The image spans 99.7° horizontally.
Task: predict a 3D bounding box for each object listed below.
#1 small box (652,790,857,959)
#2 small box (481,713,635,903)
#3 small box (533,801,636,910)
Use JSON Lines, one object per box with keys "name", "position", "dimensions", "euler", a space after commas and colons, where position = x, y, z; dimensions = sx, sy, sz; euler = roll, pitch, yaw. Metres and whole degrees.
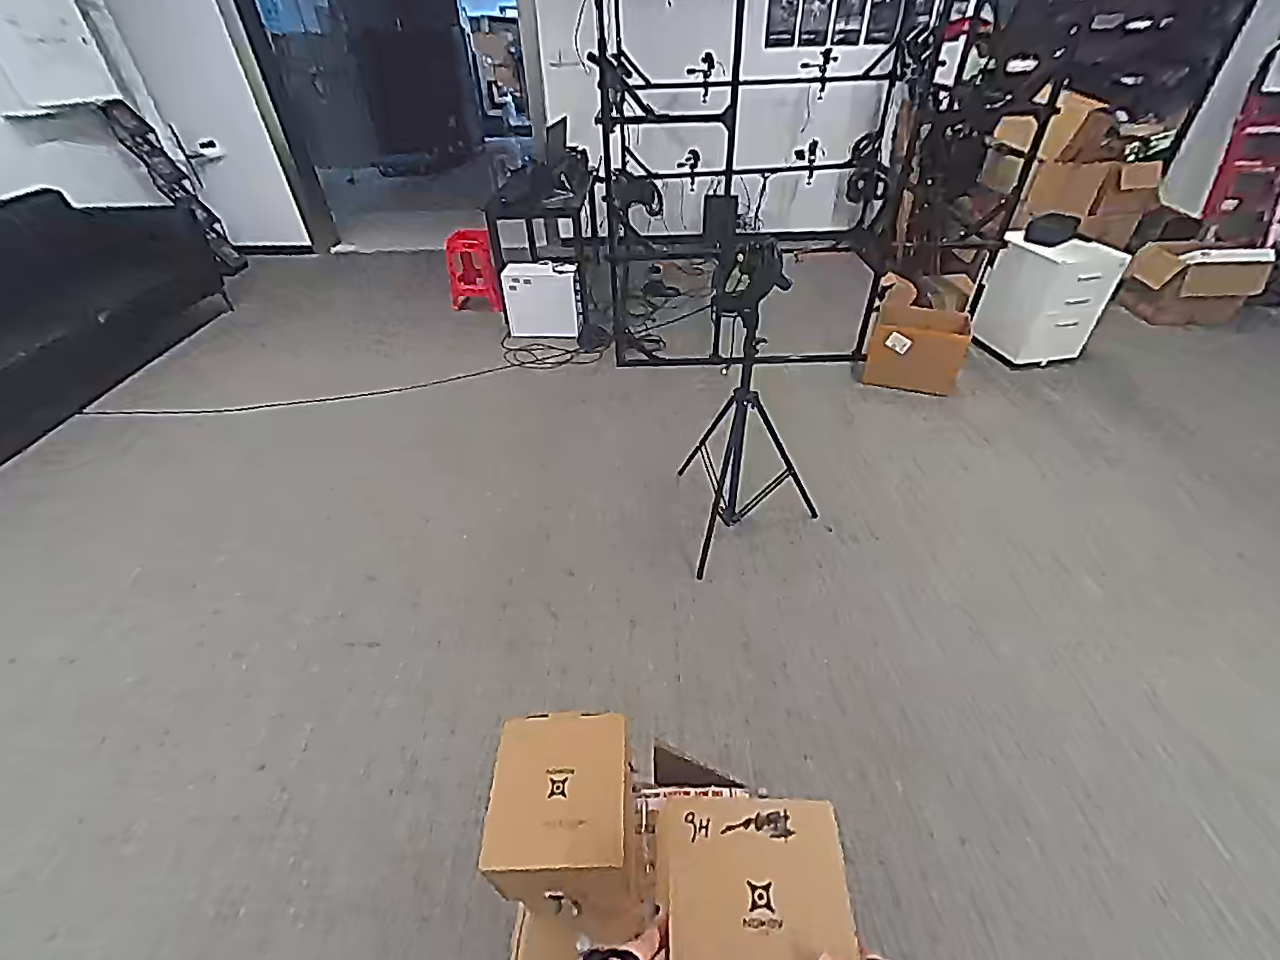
{"name": "small box", "position": [0.101, 0.423, 0.538], "dimensions": [0.168, 0.176, 0.179], "euler": [3, 52, -1]}
{"name": "small box", "position": [-0.095, 0.433, 0.716], "dimensions": [0.168, 0.176, 0.179], "euler": [-3, 43, 1]}
{"name": "small box", "position": [-0.094, 0.541, 0.840], "dimensions": [0.168, 0.176, 0.179], "euler": [-3, 42, 1]}
